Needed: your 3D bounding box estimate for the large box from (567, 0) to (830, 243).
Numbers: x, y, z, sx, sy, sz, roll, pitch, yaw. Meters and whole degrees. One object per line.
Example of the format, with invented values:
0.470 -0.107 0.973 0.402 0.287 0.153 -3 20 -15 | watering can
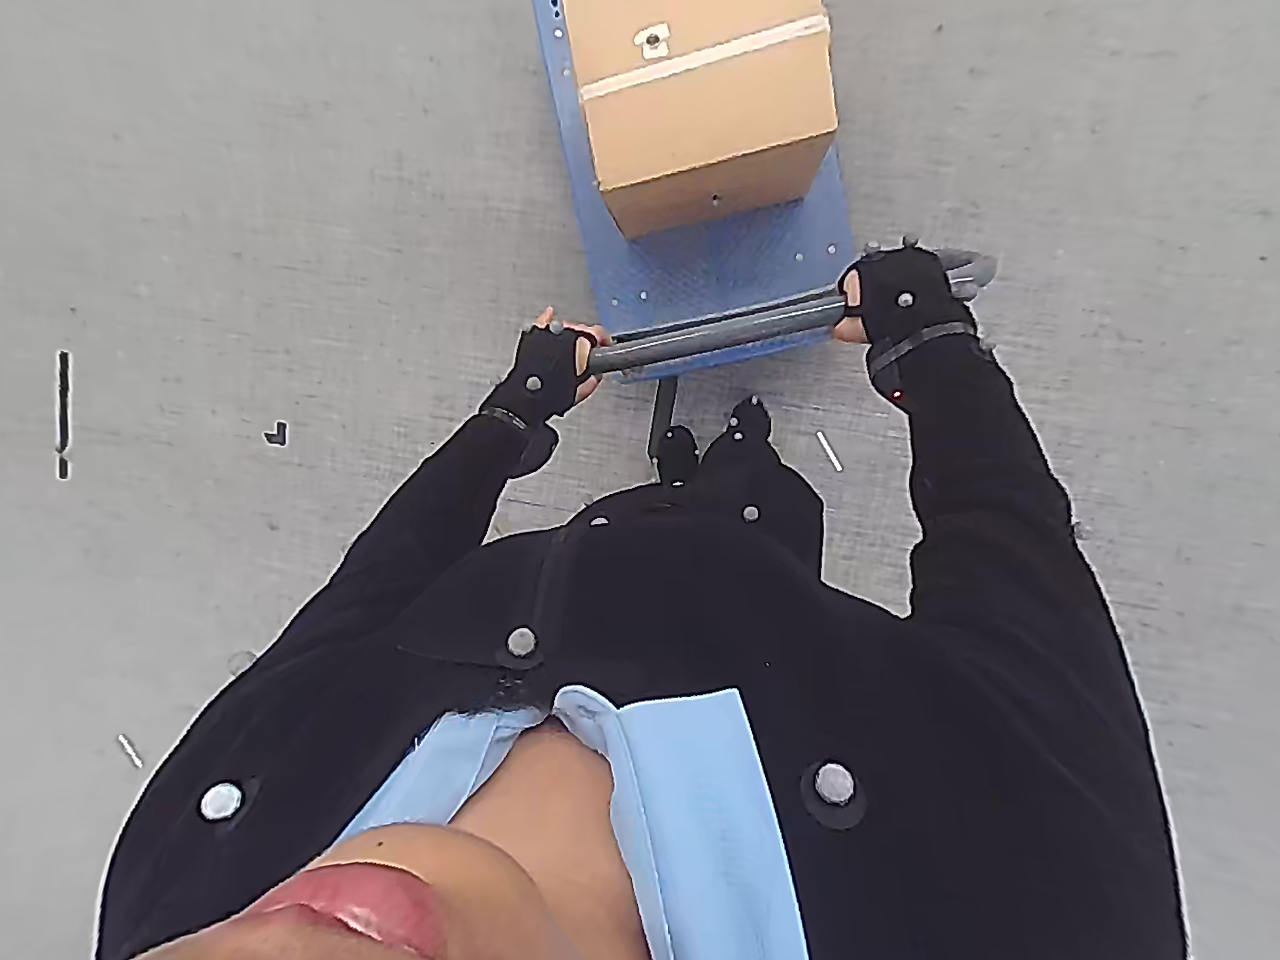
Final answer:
0.117 -0.704 1.056 0.408 0.320 0.320 -10 97 9 | large box
